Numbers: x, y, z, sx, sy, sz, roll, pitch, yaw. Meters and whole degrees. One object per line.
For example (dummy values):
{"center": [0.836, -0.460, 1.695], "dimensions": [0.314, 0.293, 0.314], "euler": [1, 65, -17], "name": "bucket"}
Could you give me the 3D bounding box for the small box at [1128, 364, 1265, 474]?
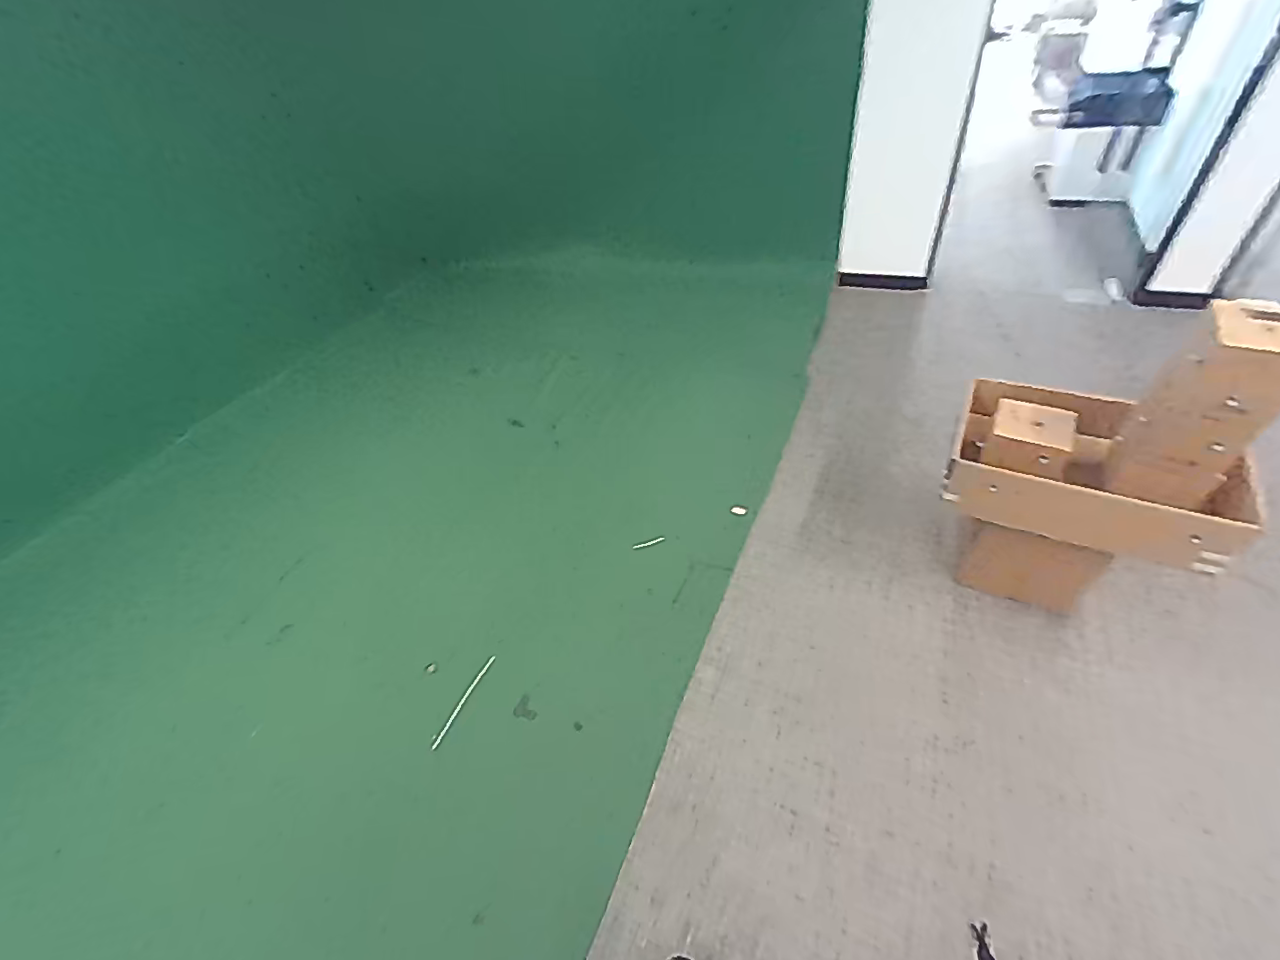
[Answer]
{"center": [1.274, -0.140, 1.252], "dimensions": [0.168, 0.176, 0.179], "euler": [18, 52, 25], "name": "small box"}
